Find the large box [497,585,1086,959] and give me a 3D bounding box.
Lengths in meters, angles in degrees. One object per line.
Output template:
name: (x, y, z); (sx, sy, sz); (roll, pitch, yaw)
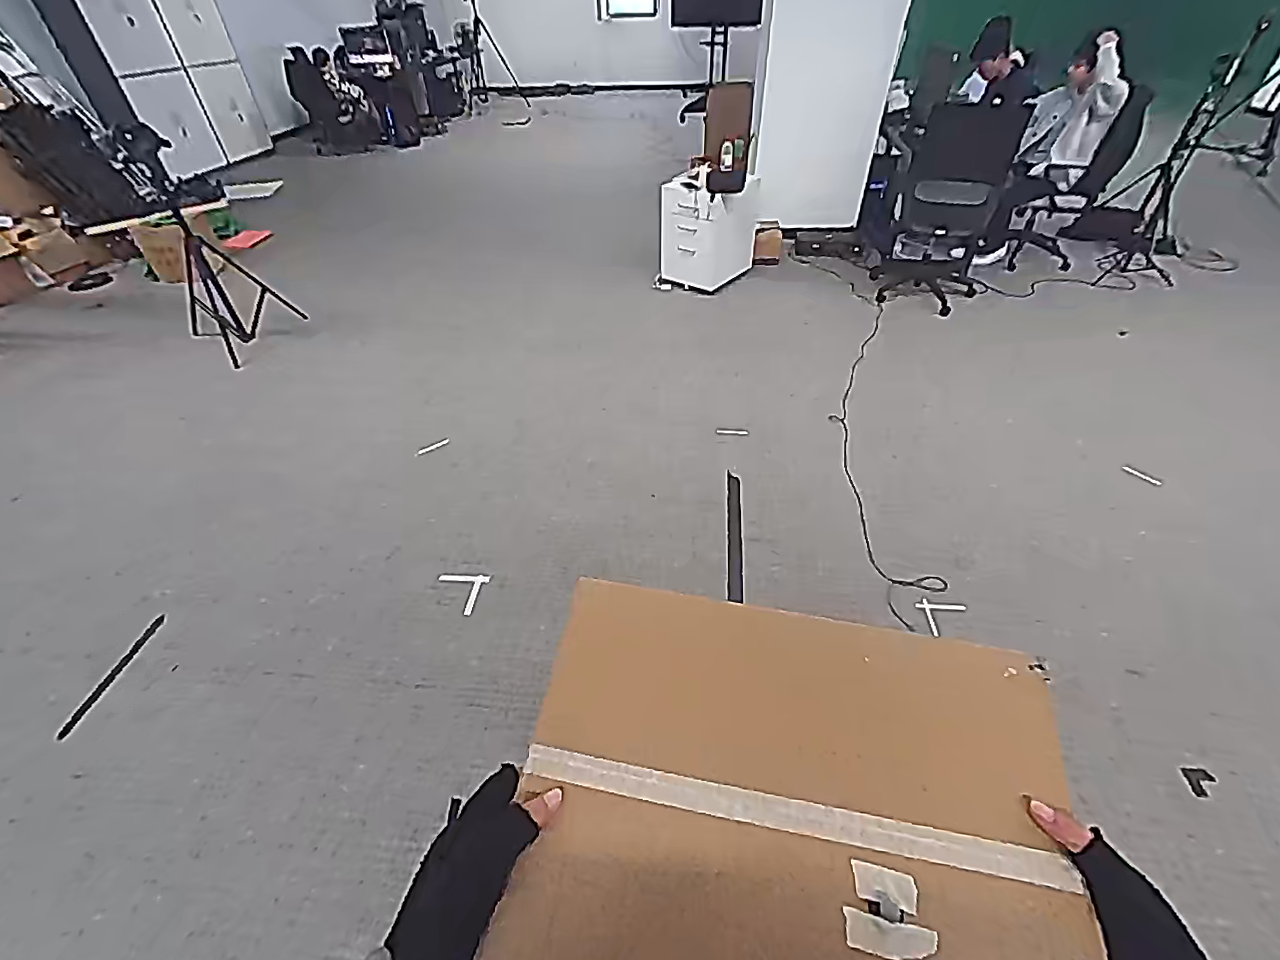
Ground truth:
large box: (0.119, 0.332, 0.543); (0.408, 0.320, 0.320); (8, 58, 7)
